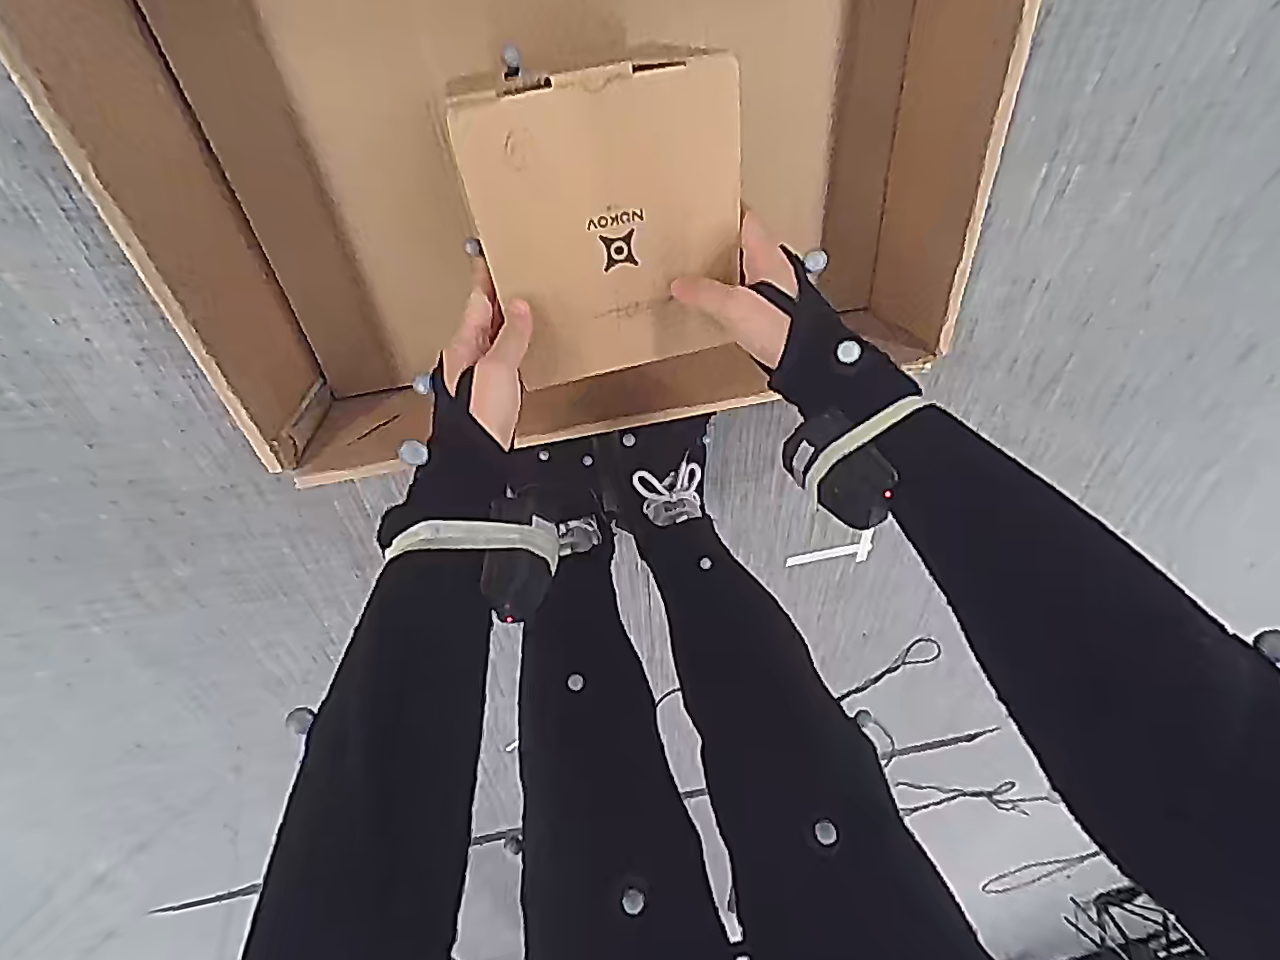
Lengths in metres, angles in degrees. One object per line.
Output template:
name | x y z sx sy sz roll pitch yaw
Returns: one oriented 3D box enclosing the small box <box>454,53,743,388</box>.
small box | -0.032 -0.200 0.405 0.168 0.176 0.179 -15 133 -6
